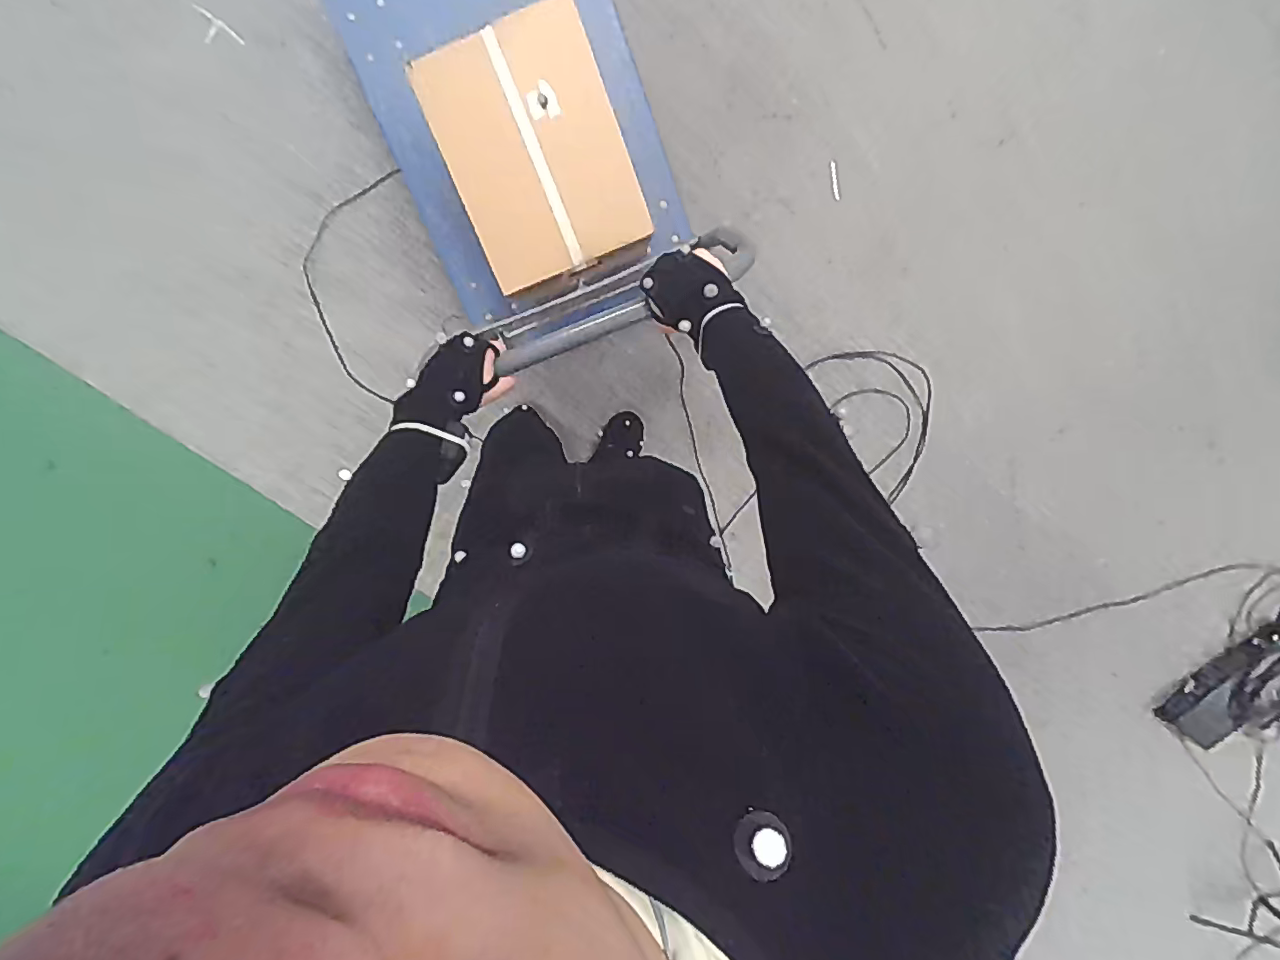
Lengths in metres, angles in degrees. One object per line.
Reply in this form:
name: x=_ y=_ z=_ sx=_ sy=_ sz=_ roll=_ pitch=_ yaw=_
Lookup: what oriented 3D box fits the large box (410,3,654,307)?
large box: x=-0.188 y=-0.614 z=1.116 sx=0.320 sy=0.320 sz=0.408 roll=-21 pitch=104 yaw=3
